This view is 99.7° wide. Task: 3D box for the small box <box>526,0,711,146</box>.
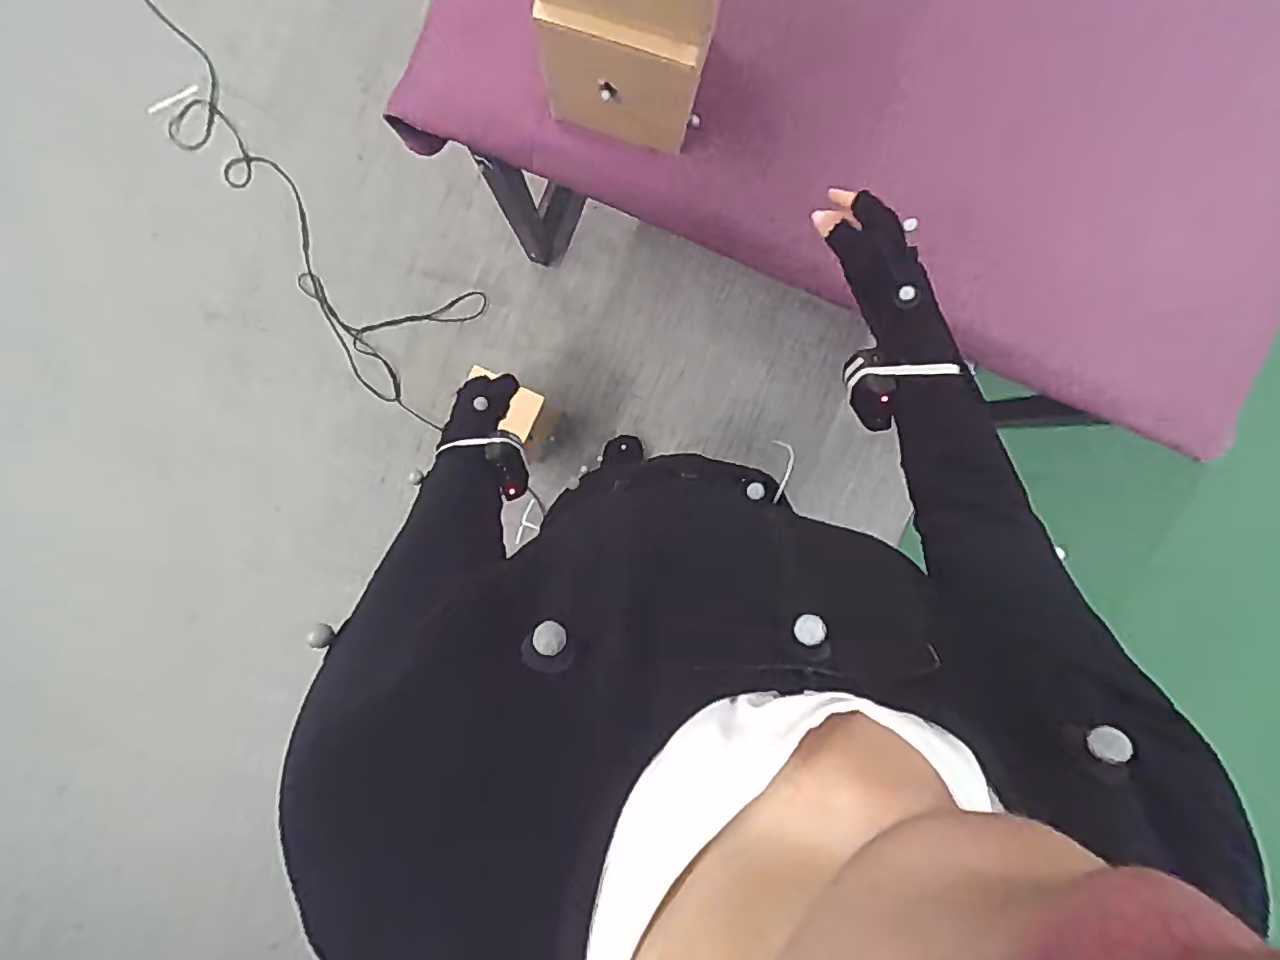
[{"bbox_3d":[-0.016,-0.530,0.631,0.179,0.176,0.168,15,93,-3],"label":"small box"}]
